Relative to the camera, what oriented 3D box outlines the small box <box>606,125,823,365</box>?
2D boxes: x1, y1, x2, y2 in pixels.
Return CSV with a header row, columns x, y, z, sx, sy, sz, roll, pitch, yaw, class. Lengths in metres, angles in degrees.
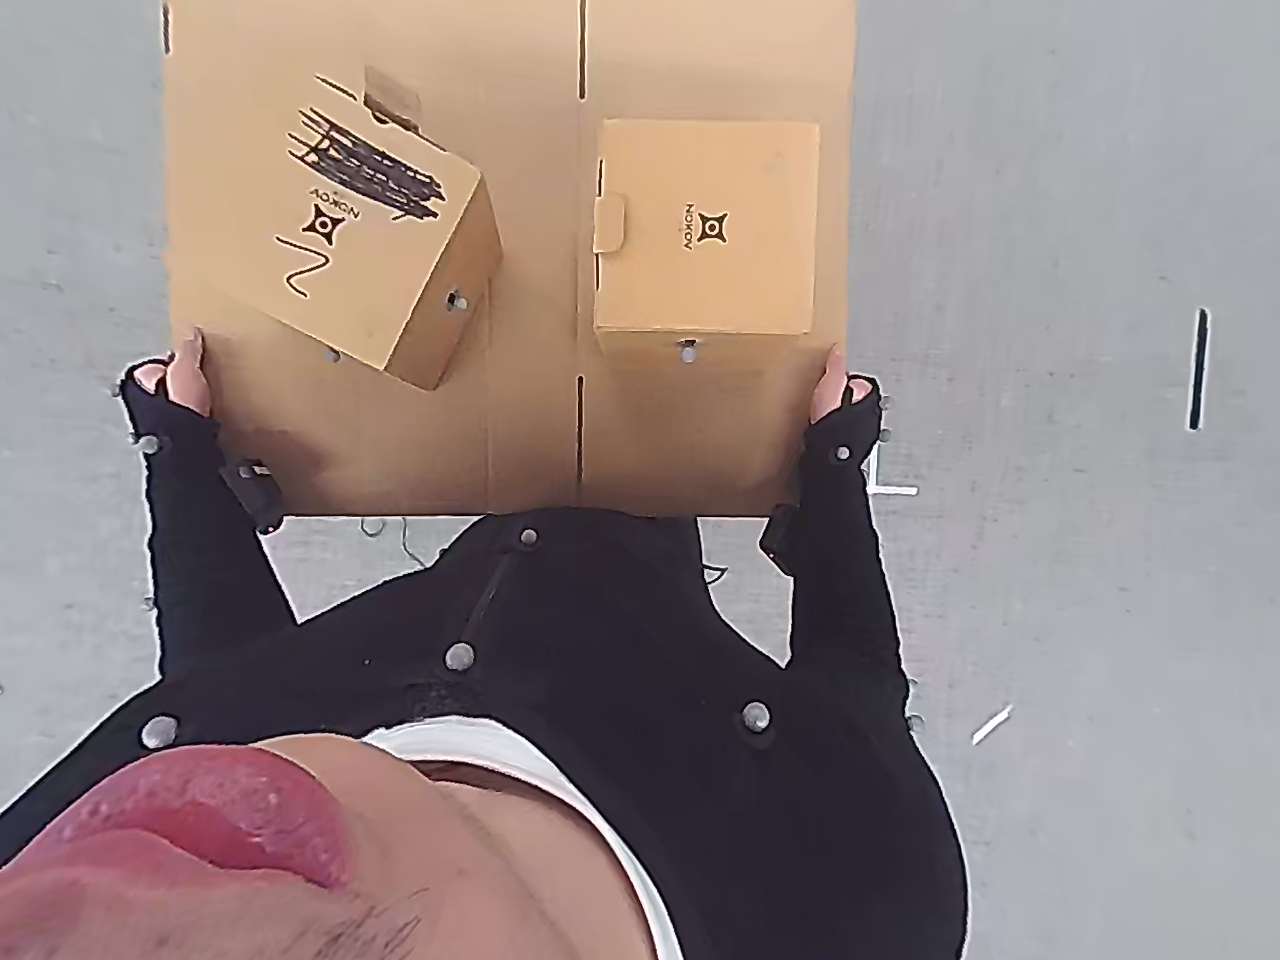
x,y,z,sx,sy,sz,roll,pitch,yaw,class
0.062,-0.209,0.524,0.179,0.176,0.168,1,92,2,small box
